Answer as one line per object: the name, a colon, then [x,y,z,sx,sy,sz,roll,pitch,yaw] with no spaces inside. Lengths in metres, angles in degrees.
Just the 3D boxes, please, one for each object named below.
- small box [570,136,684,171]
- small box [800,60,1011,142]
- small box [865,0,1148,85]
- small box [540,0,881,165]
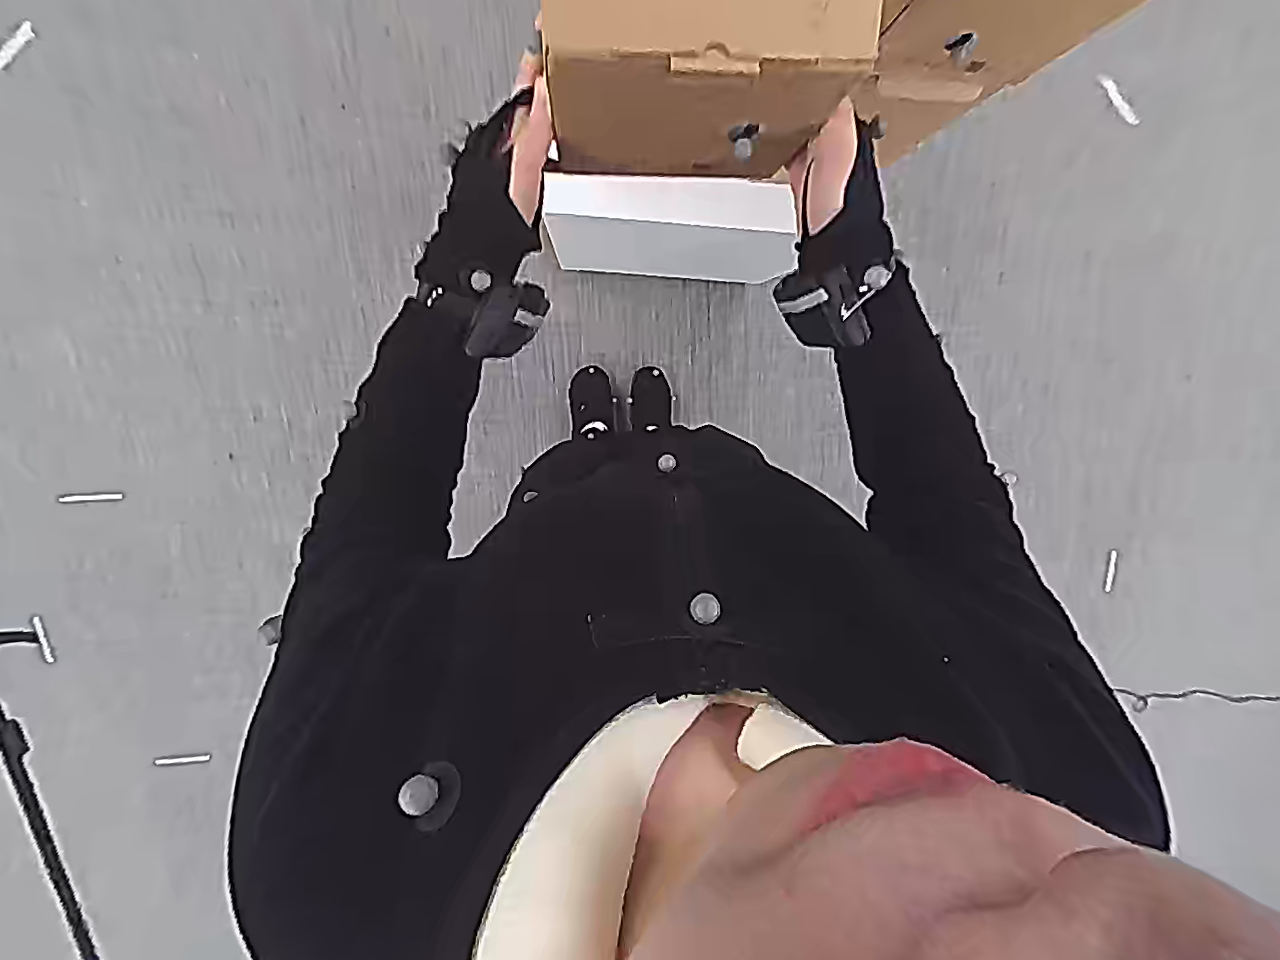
small box: [-0.007,-0.527,0.690,0.168,0.176,0.179,3,102,-6]
small box: [0.267,-0.475,0.557,0.168,0.176,0.179,1,103,-5]
small box: [0.281,-0.436,0.400,0.168,0.176,0.179,1,104,-5]
small box: [0.030,-0.309,0.319,0.168,0.176,0.179,-1,102,-6]
